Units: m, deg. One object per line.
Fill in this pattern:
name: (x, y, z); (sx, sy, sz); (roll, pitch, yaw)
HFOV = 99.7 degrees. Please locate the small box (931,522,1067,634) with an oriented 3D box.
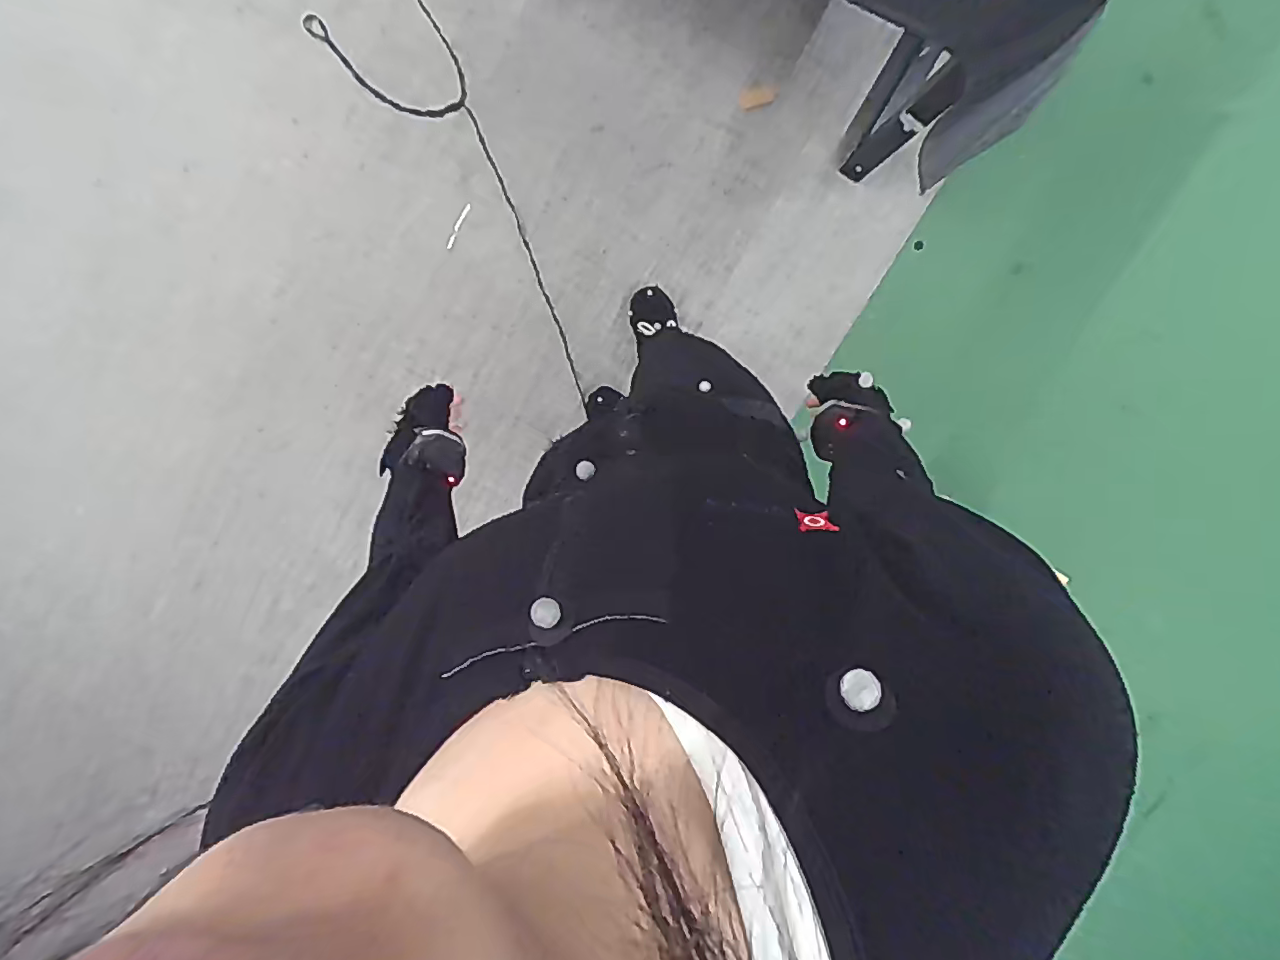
small box: (0.845, 0.226, 1.294); (0.168, 0.176, 0.179); (33, 99, -7)
